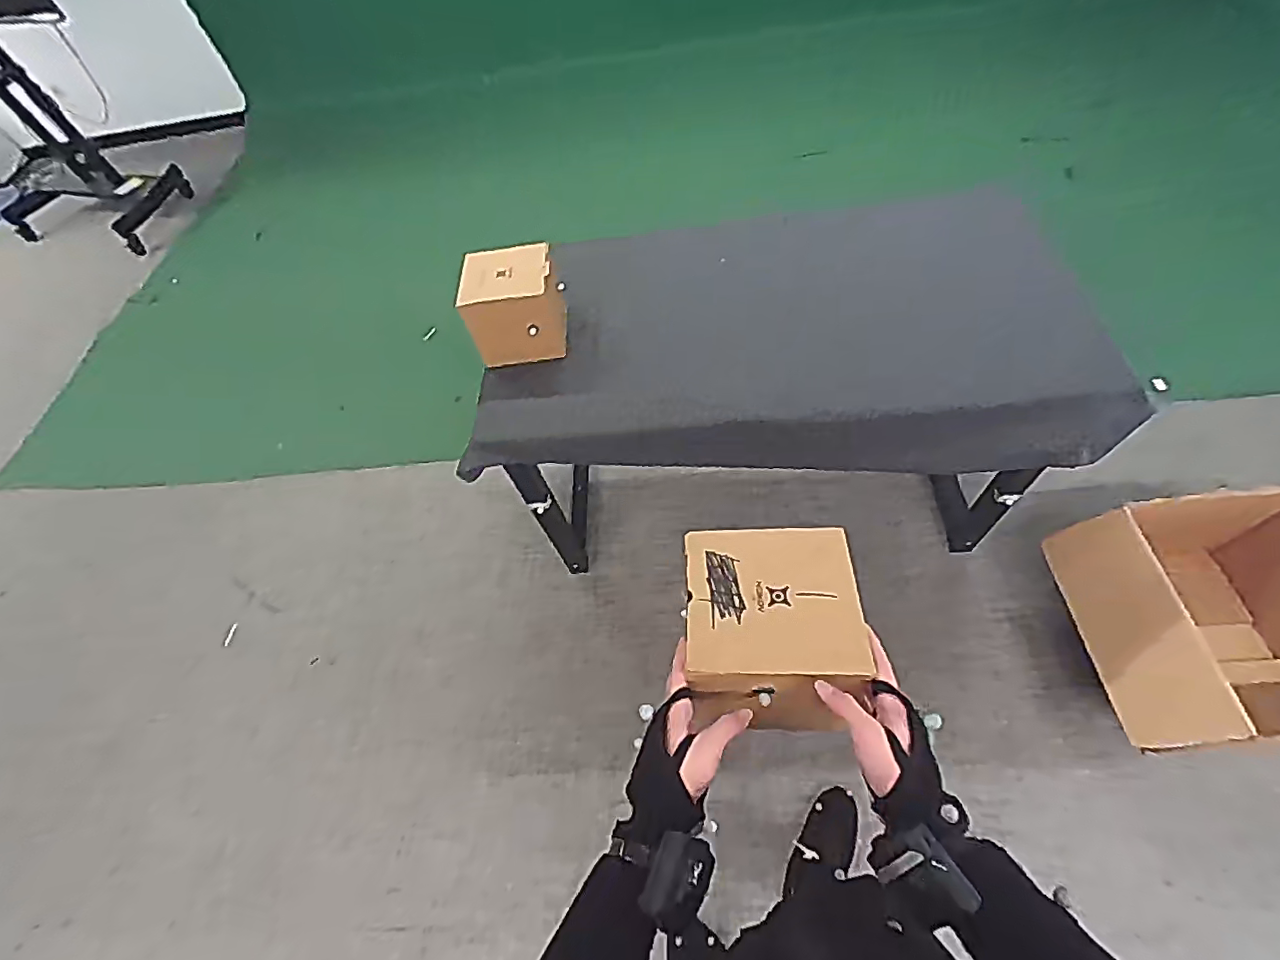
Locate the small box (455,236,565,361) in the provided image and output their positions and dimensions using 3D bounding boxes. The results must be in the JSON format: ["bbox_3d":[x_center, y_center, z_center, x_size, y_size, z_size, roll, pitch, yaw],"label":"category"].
[{"bbox_3d":[-0.258,-0.371,1.121,0.179,0.176,0.168,-7,57,5],"label":"small box"}]

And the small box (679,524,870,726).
[{"bbox_3d":[0.143,0.165,0.608,0.179,0.176,0.168,0,52,10],"label":"small box"}]
